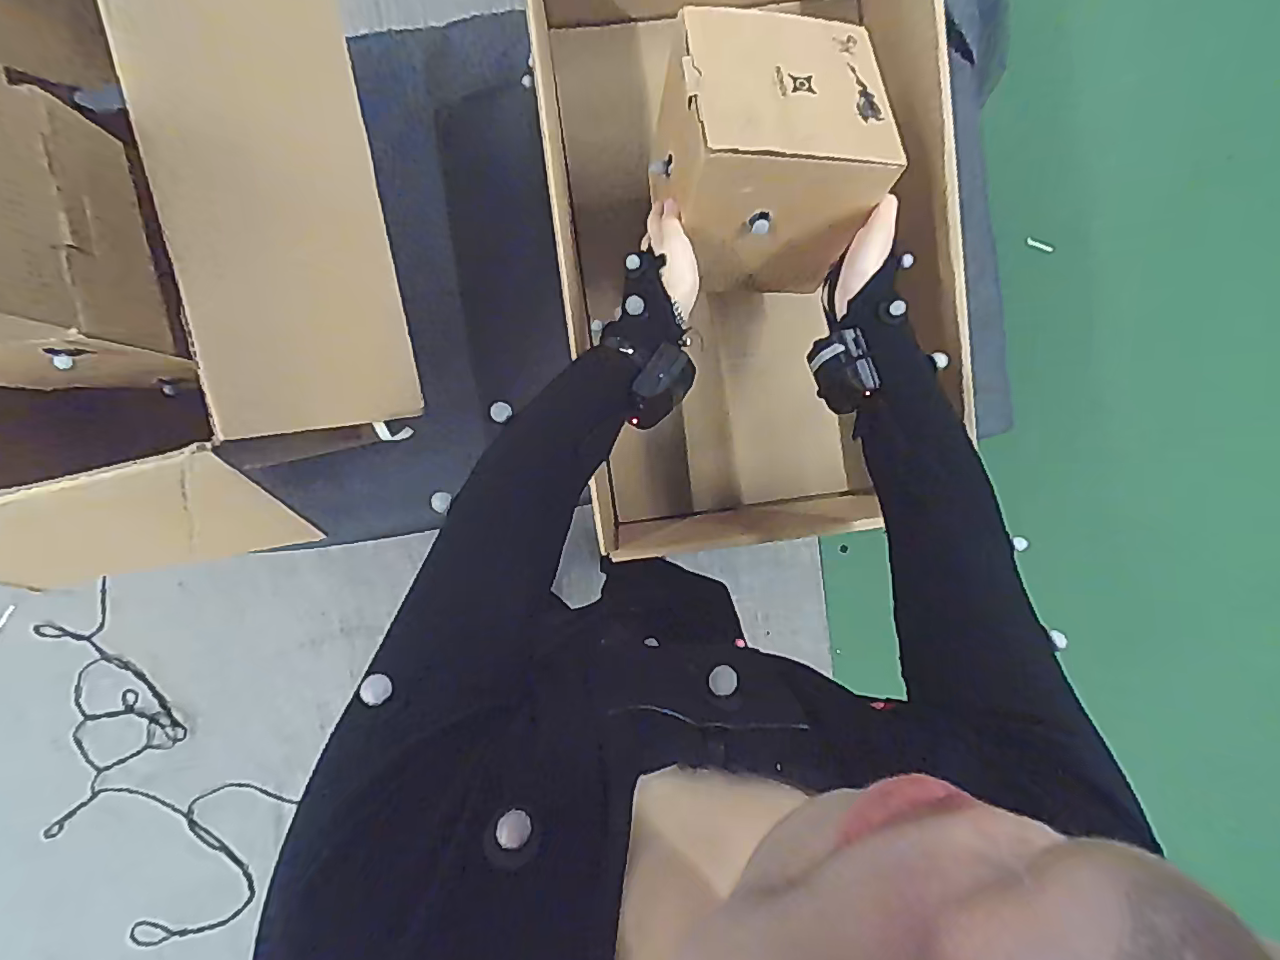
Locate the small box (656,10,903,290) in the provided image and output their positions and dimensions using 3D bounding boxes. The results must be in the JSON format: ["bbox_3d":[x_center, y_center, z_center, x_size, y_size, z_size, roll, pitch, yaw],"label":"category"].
[{"bbox_3d":[0.114,-0.306,0.530,0.179,0.176,0.168,-2,72,-10],"label":"small box"}]

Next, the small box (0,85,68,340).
[{"bbox_3d":[-0.463,-0.169,0.269,0.168,0.176,0.179,-11,95,-6],"label":"small box"}]
